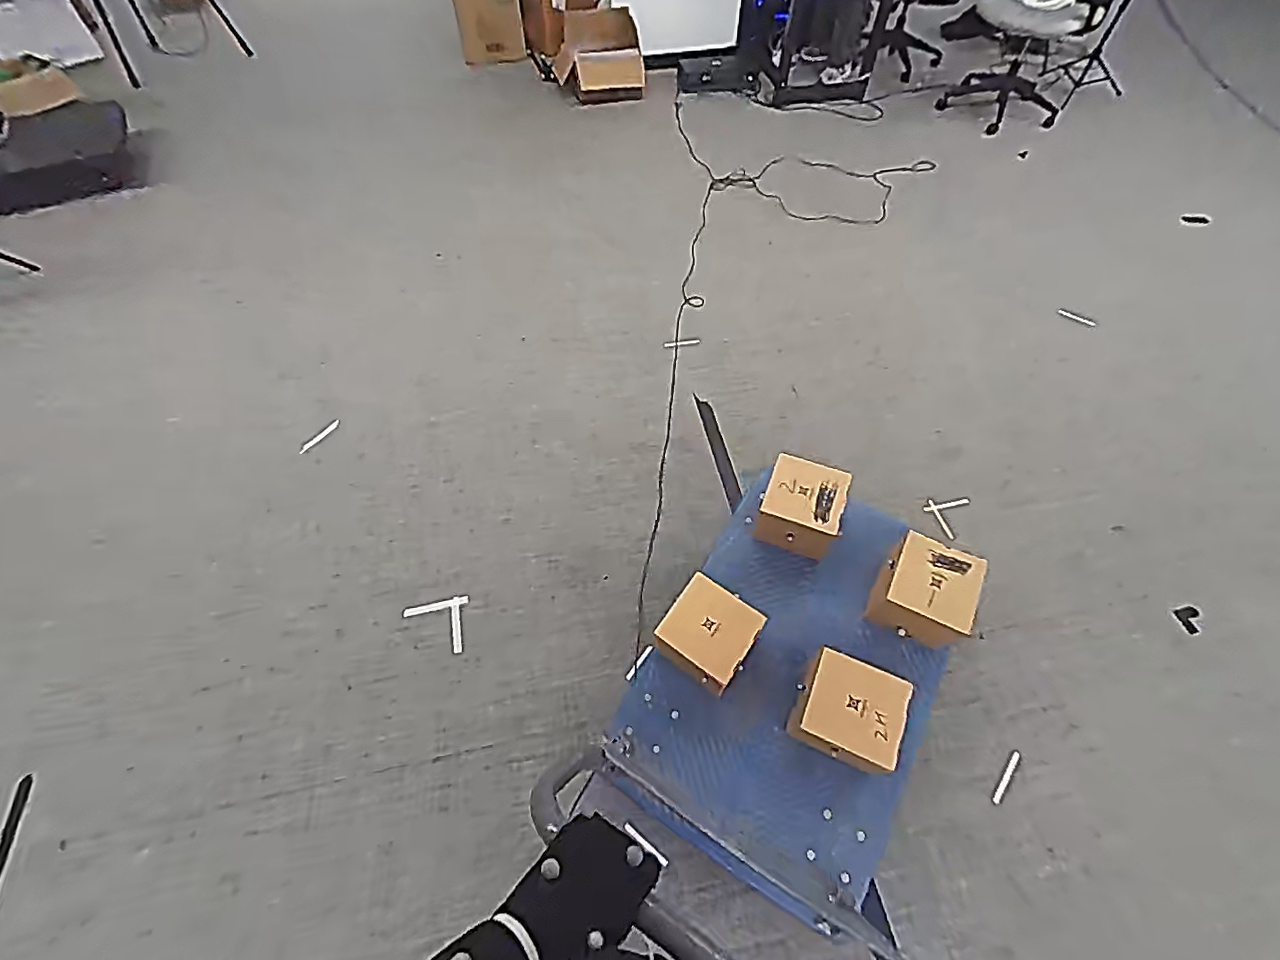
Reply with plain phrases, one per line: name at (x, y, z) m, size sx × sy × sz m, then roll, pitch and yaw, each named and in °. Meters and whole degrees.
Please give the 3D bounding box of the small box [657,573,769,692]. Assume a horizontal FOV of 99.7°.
small box at (0.152, 0.337, 1.174) m, size 0.179 × 0.176 × 0.168 m, roll 34°, pitch 69°, yaw 18°

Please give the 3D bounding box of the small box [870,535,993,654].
small box at (0.628, 0.255, 1.182) m, size 0.168 × 0.176 × 0.179 m, roll 25°, pitch 67°, yaw 17°

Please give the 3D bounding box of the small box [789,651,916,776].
small box at (0.415, 0.470, 1.083) m, size 0.179 × 0.176 × 0.168 m, roll 22°, pitch 66°, yaw 15°
